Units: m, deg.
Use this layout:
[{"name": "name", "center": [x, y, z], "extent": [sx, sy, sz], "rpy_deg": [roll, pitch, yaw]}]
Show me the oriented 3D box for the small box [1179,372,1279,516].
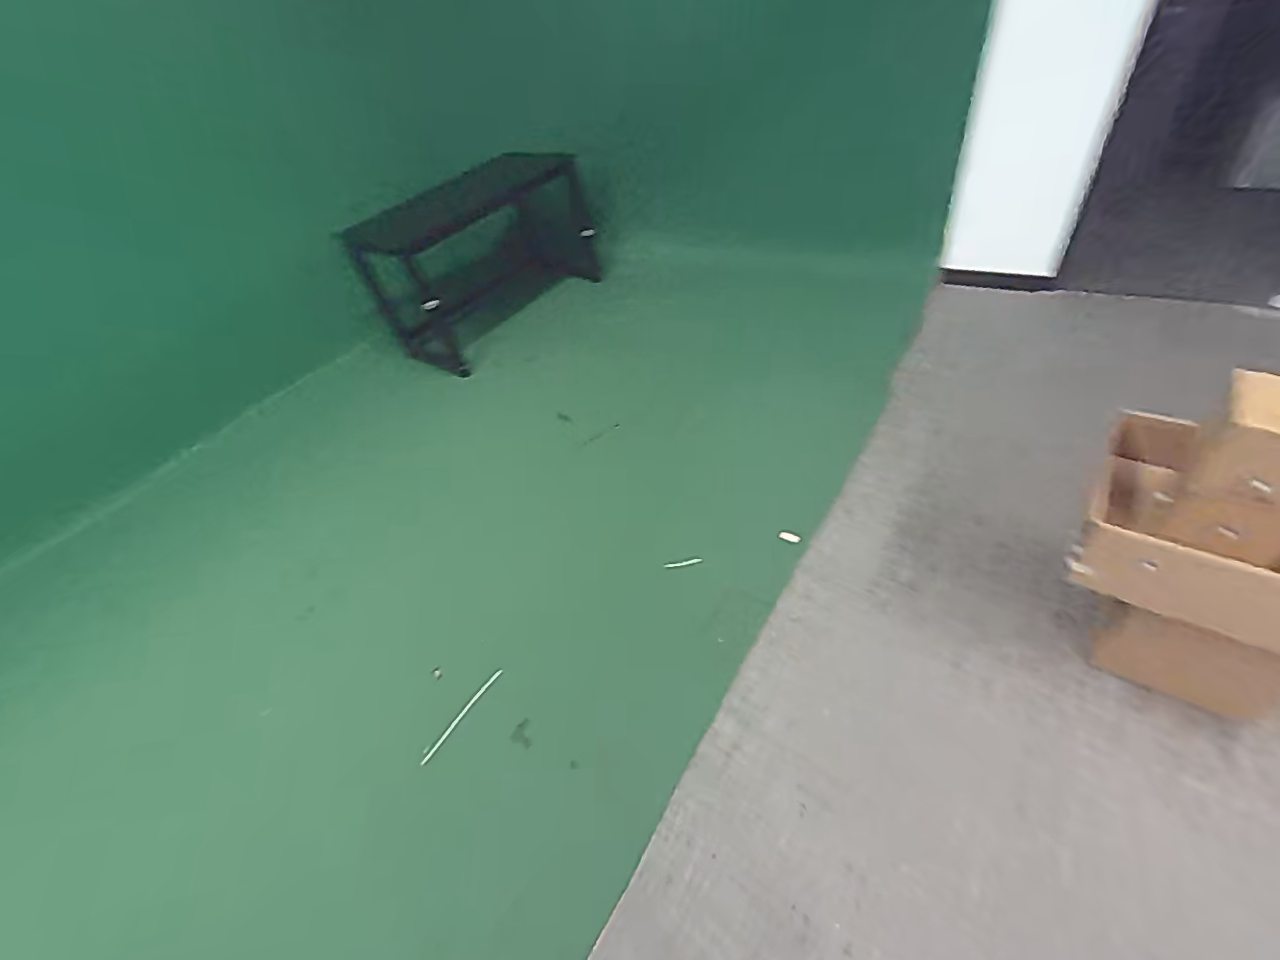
[{"name": "small box", "center": [1.141, -0.067, 0.993], "extent": [0.168, 0.176, 0.179], "rpy_deg": [21, 54, 31]}]
